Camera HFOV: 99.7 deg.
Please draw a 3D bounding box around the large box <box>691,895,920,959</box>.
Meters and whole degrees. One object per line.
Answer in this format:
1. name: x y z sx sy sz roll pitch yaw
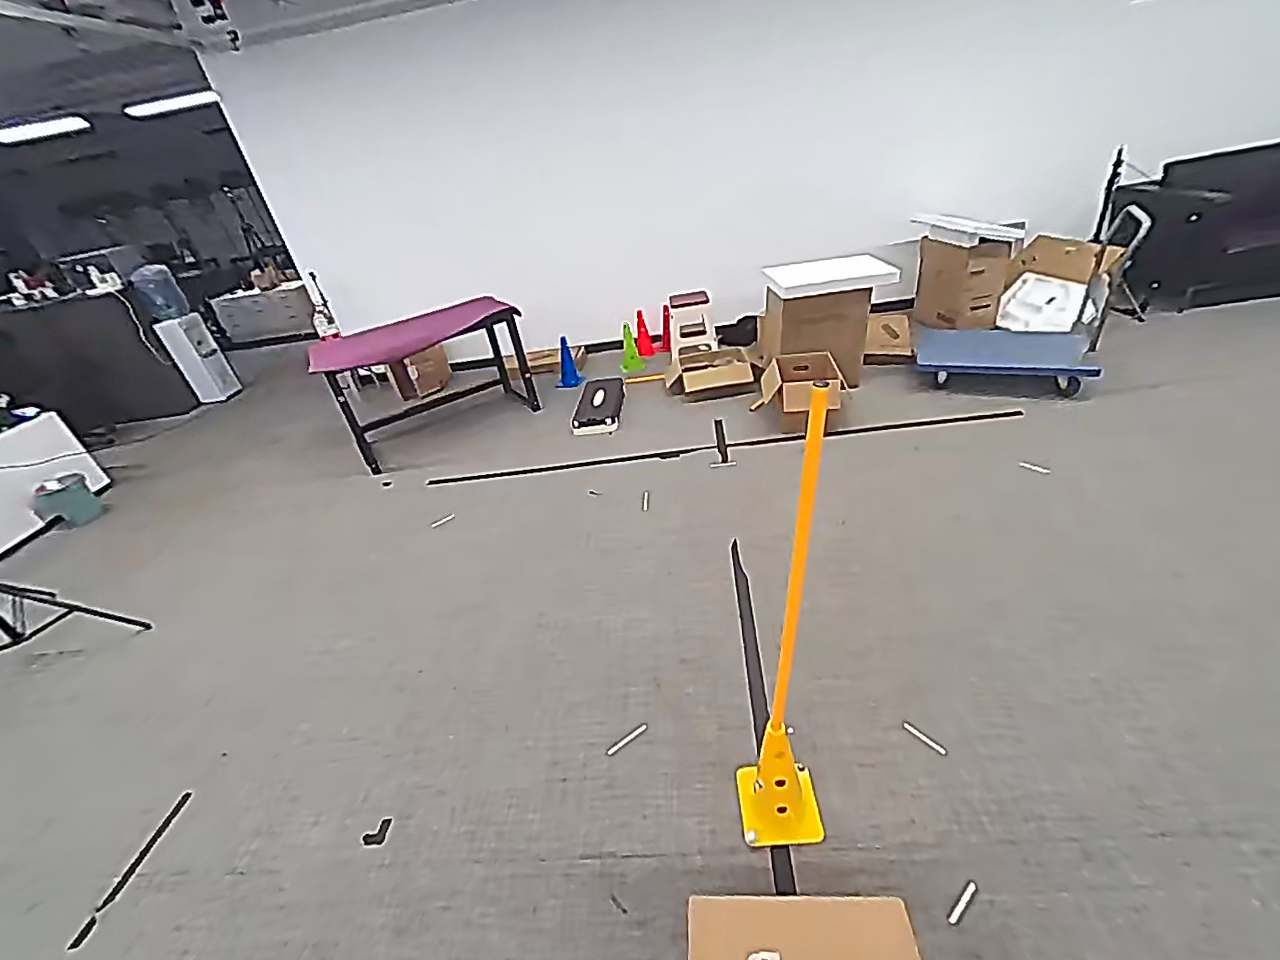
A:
1. large box: 0.313 1.008 0.986 0.408 0.320 0.320 -6 30 8
